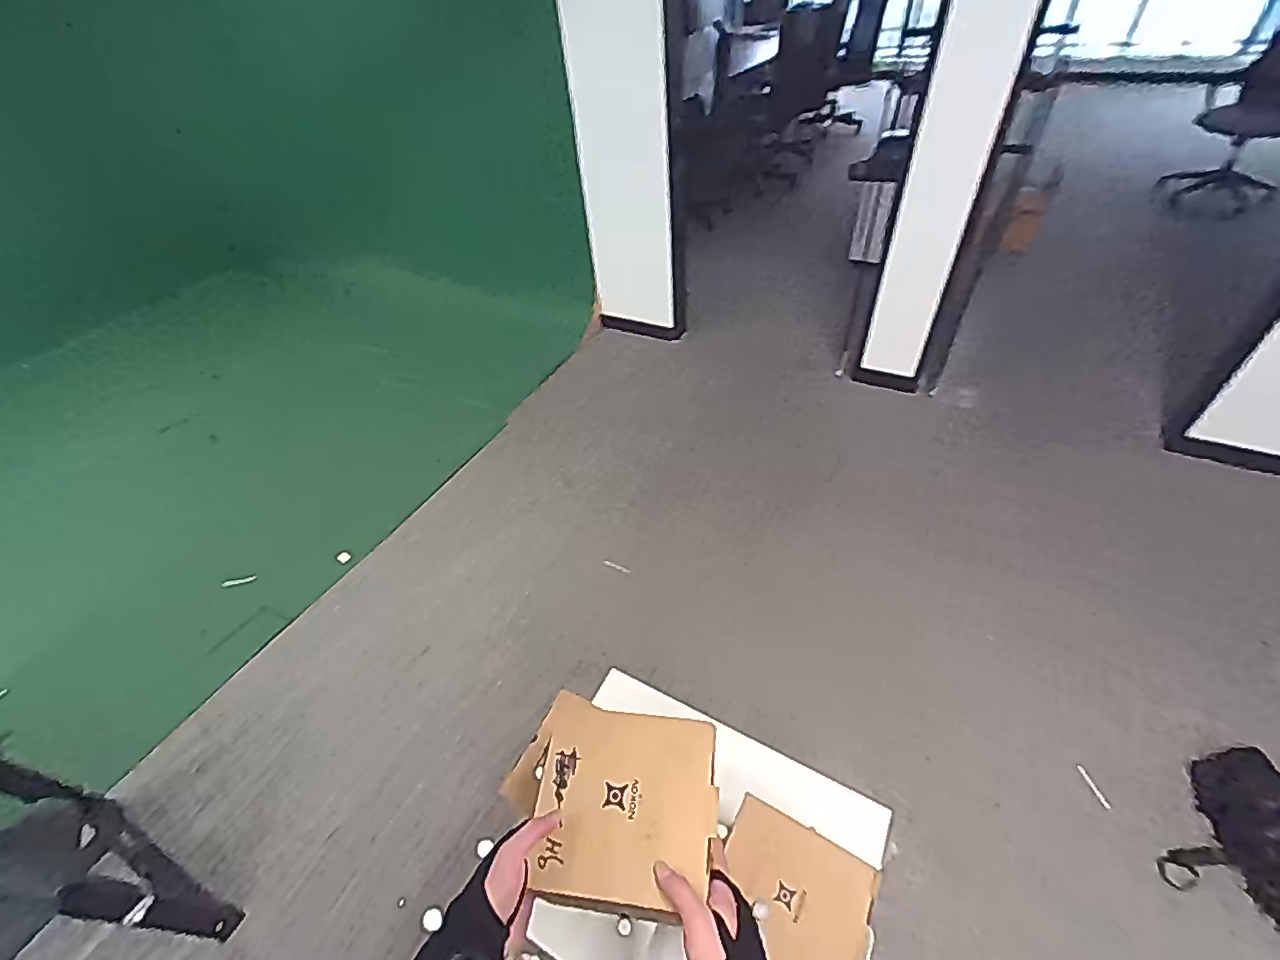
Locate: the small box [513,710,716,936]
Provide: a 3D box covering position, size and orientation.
[{"bbox_3d":[-0.012,0.370,0.582,0.179,0.176,0.168,3,46,8],"label":"small box"}]

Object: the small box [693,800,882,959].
[{"bbox_3d":[0.182,0.554,0.687,0.179,0.176,0.168,19,49,25],"label":"small box"}]

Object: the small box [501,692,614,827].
[{"bbox_3d":[-0.074,0.457,0.806,0.179,0.176,0.168,19,50,21],"label":"small box"}]
